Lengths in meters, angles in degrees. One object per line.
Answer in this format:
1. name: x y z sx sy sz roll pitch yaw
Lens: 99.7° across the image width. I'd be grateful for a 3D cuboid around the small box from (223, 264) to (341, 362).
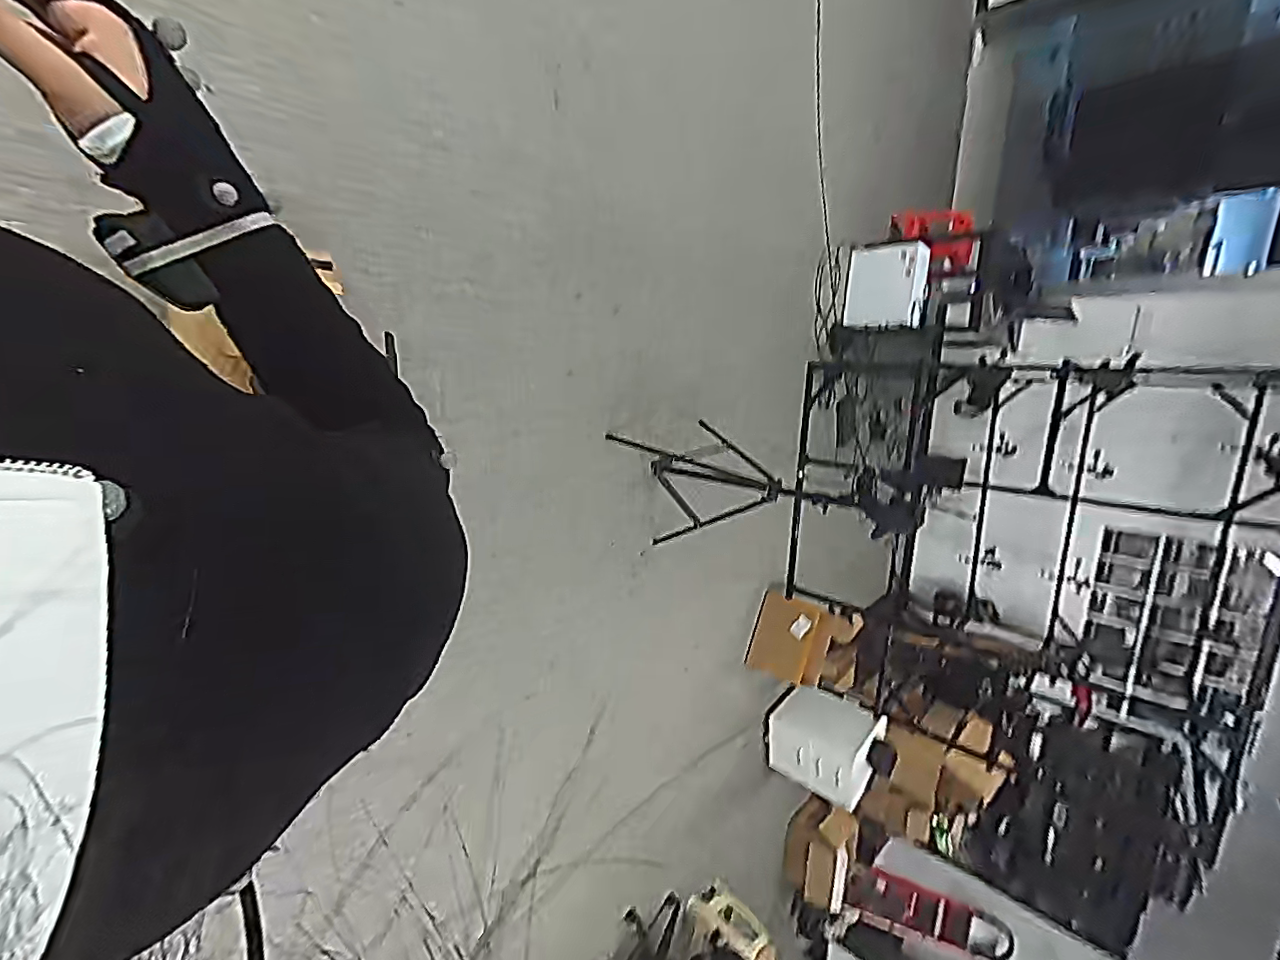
1. small box: -0.744 -0.335 1.120 0.179 0.176 0.168 -7 104 -46
